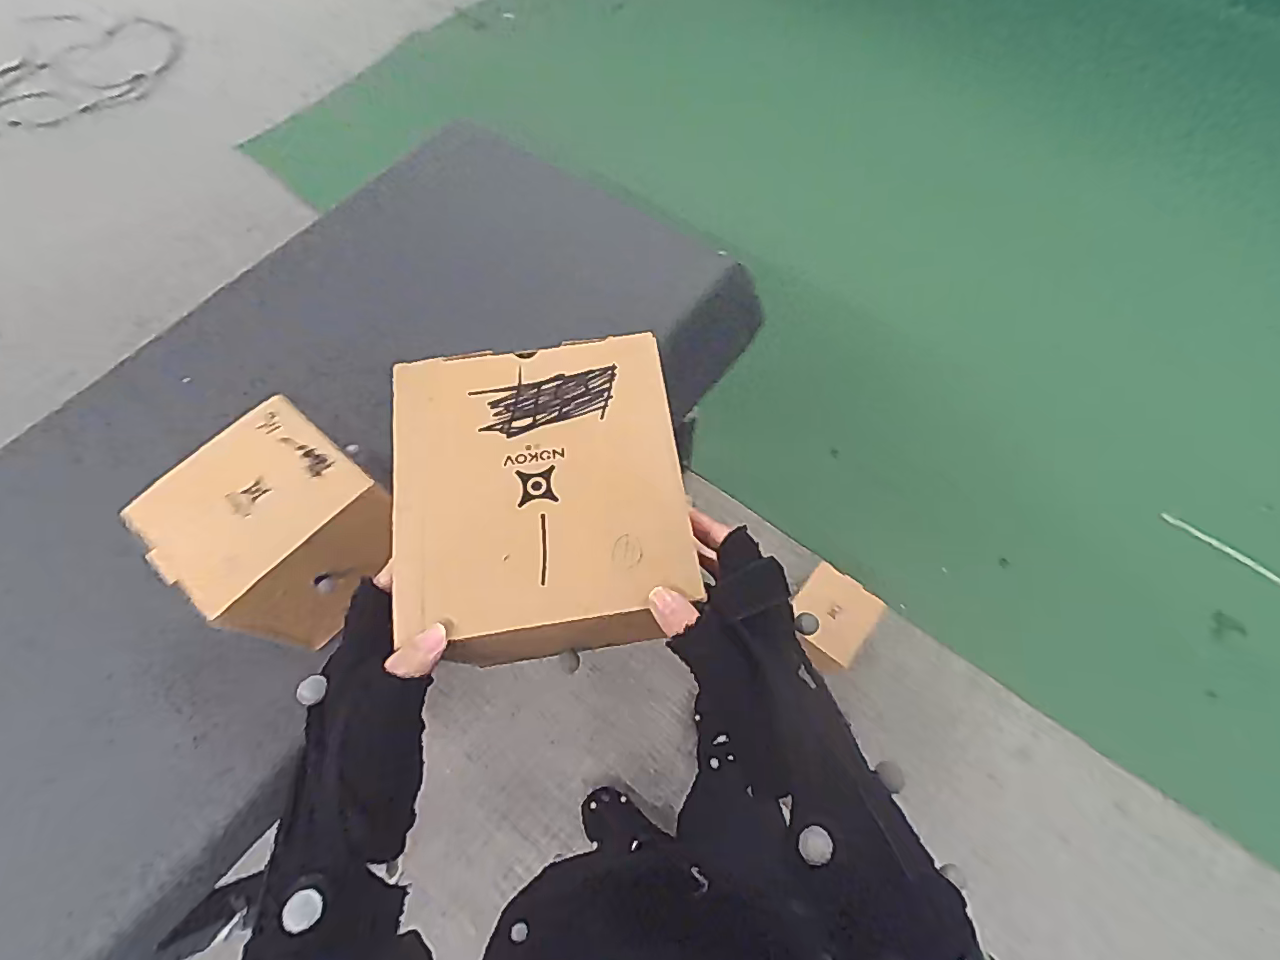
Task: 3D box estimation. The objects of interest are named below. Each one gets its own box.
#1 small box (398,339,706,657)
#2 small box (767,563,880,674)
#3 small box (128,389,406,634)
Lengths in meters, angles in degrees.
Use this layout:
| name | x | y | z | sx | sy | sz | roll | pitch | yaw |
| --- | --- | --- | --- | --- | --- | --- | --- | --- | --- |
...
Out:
| name | x | y | z | sx | sy | sz | roll | pitch | yaw |
| --- | --- | --- | --- | --- | --- | --- | --- | --- | --- |
| small box | -0.054 | 0.024 | 0.390 | 0.168 | 0.176 | 0.179 | -6 | 69 | -2 |
| small box | 0.416 | 0.325 | 1.257 | 0.168 | 0.176 | 0.179 | 36 | 72 | 16 |
| small box | -0.372 | 0.044 | 0.589 | 0.168 | 0.176 | 0.179 | 39 | 72 | 17 |
